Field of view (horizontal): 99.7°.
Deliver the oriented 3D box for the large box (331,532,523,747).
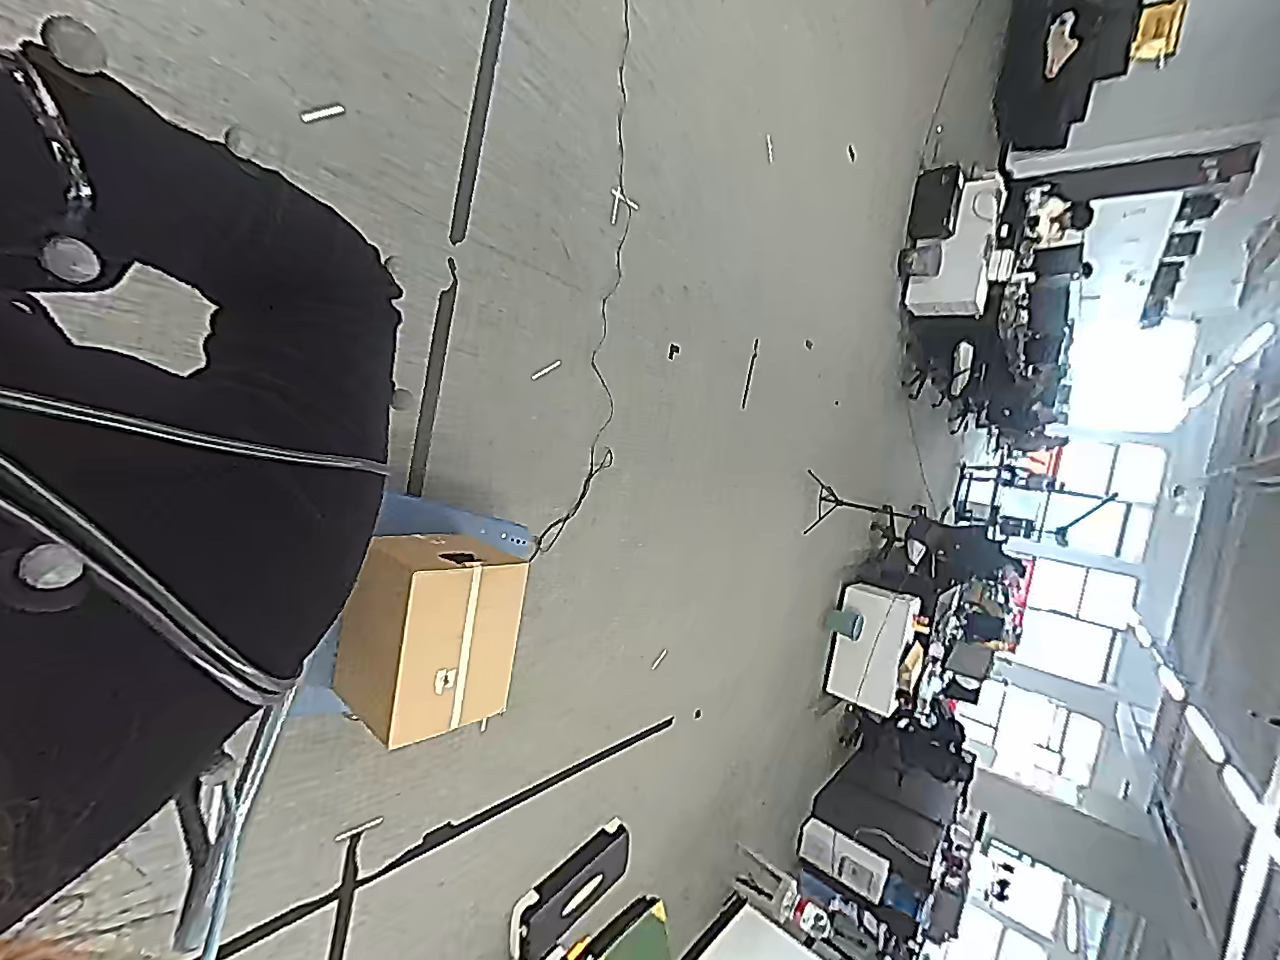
[{"bbox_3d":[-0.534,0.363,1.358,0.320,0.320,0.408,5,96,-50],"label":"large box"}]
